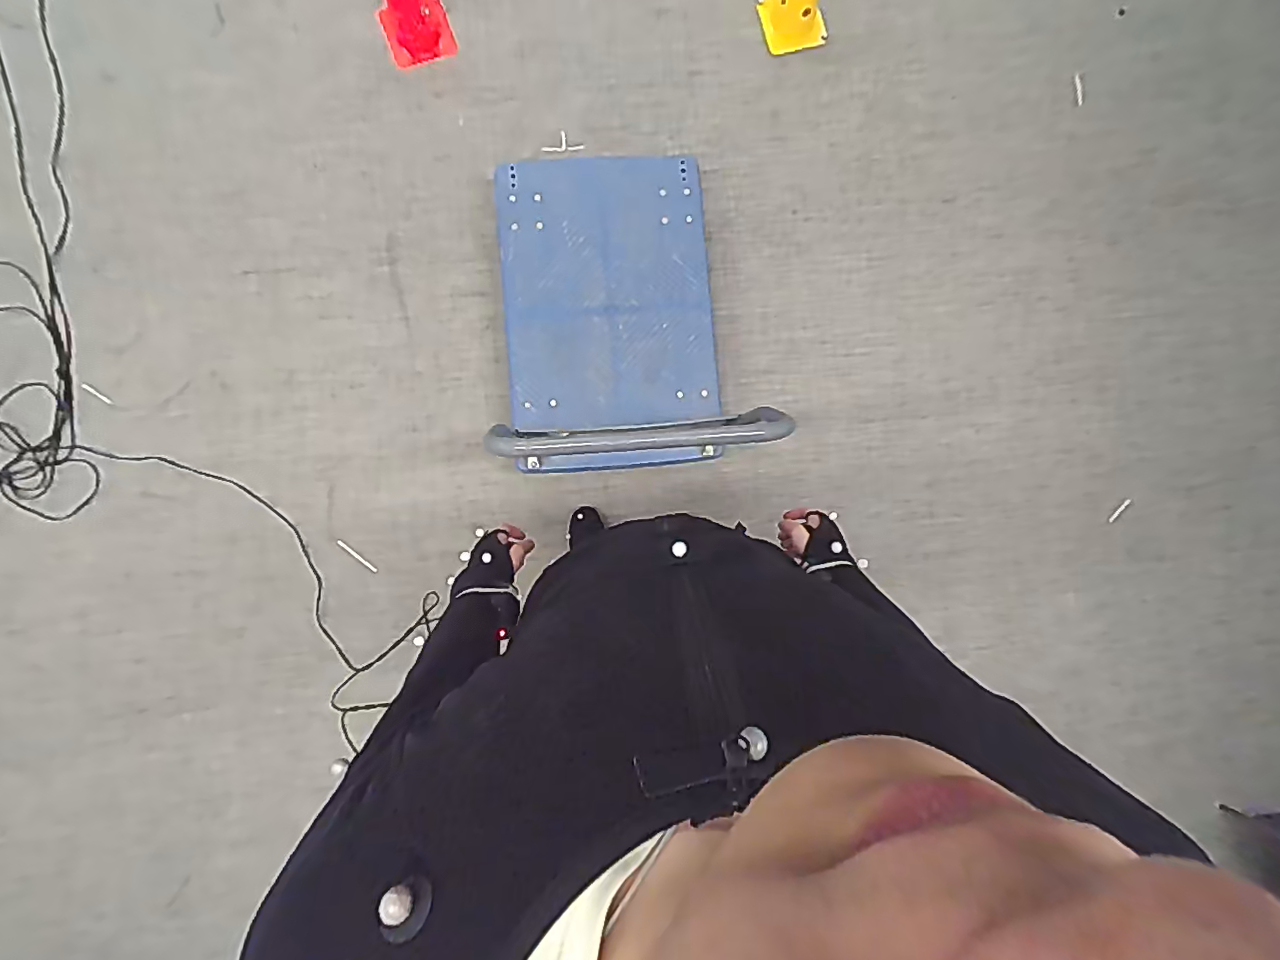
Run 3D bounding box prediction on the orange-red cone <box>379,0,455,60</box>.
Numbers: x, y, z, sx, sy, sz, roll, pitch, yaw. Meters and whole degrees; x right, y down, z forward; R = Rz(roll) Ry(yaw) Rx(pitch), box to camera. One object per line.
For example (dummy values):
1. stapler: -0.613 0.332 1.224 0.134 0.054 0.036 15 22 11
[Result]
1. orange-red cone: -0.678 -1.408 1.492 0.199 0.360 0.198 -19 88 -3
